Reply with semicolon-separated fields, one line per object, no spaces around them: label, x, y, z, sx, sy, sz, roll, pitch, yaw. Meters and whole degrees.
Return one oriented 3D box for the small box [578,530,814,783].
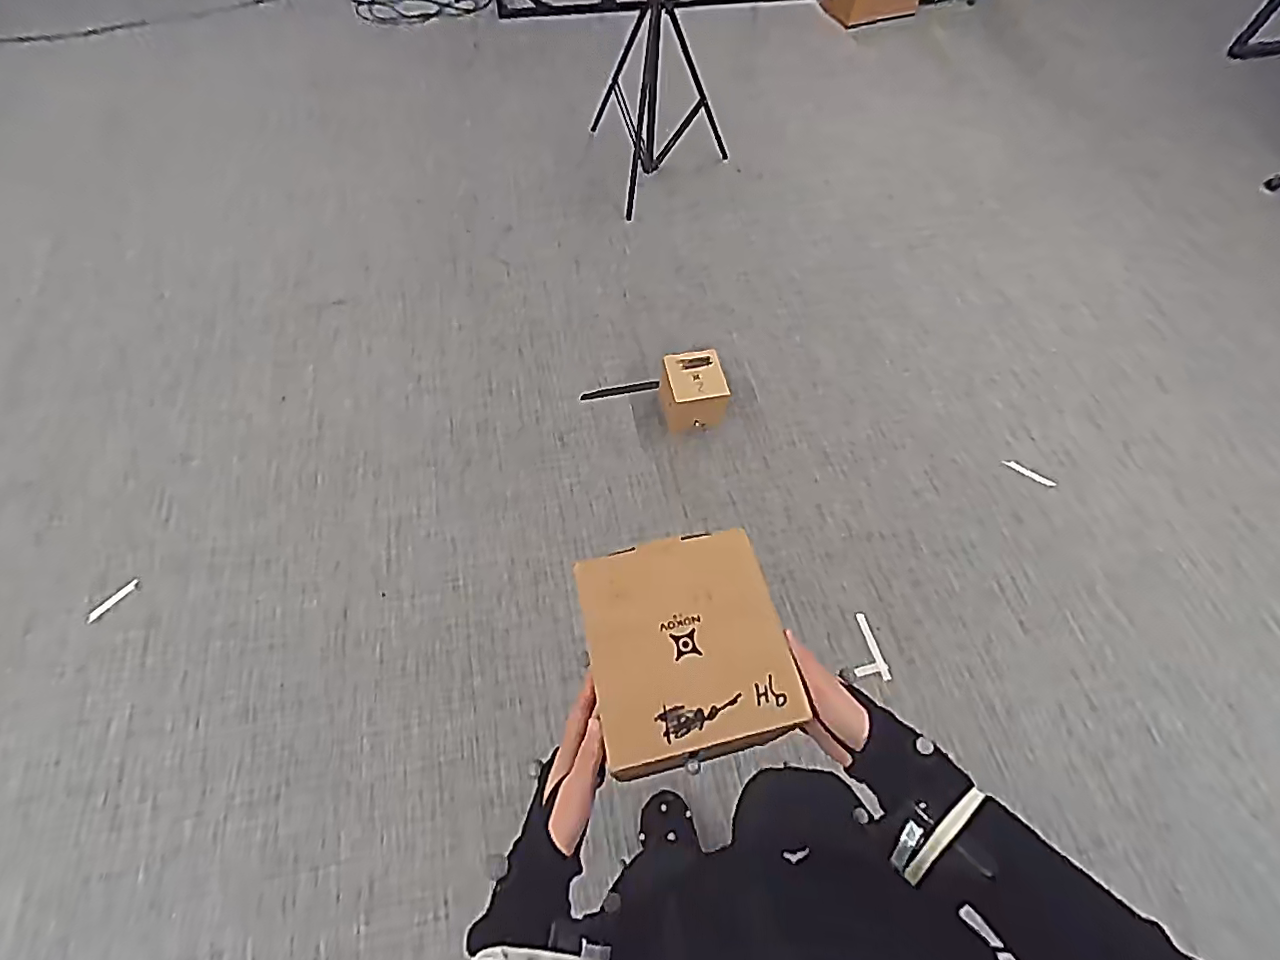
small box;0.039;0.174;0.522;0.168;0.176;0.179;-11;59;-7
